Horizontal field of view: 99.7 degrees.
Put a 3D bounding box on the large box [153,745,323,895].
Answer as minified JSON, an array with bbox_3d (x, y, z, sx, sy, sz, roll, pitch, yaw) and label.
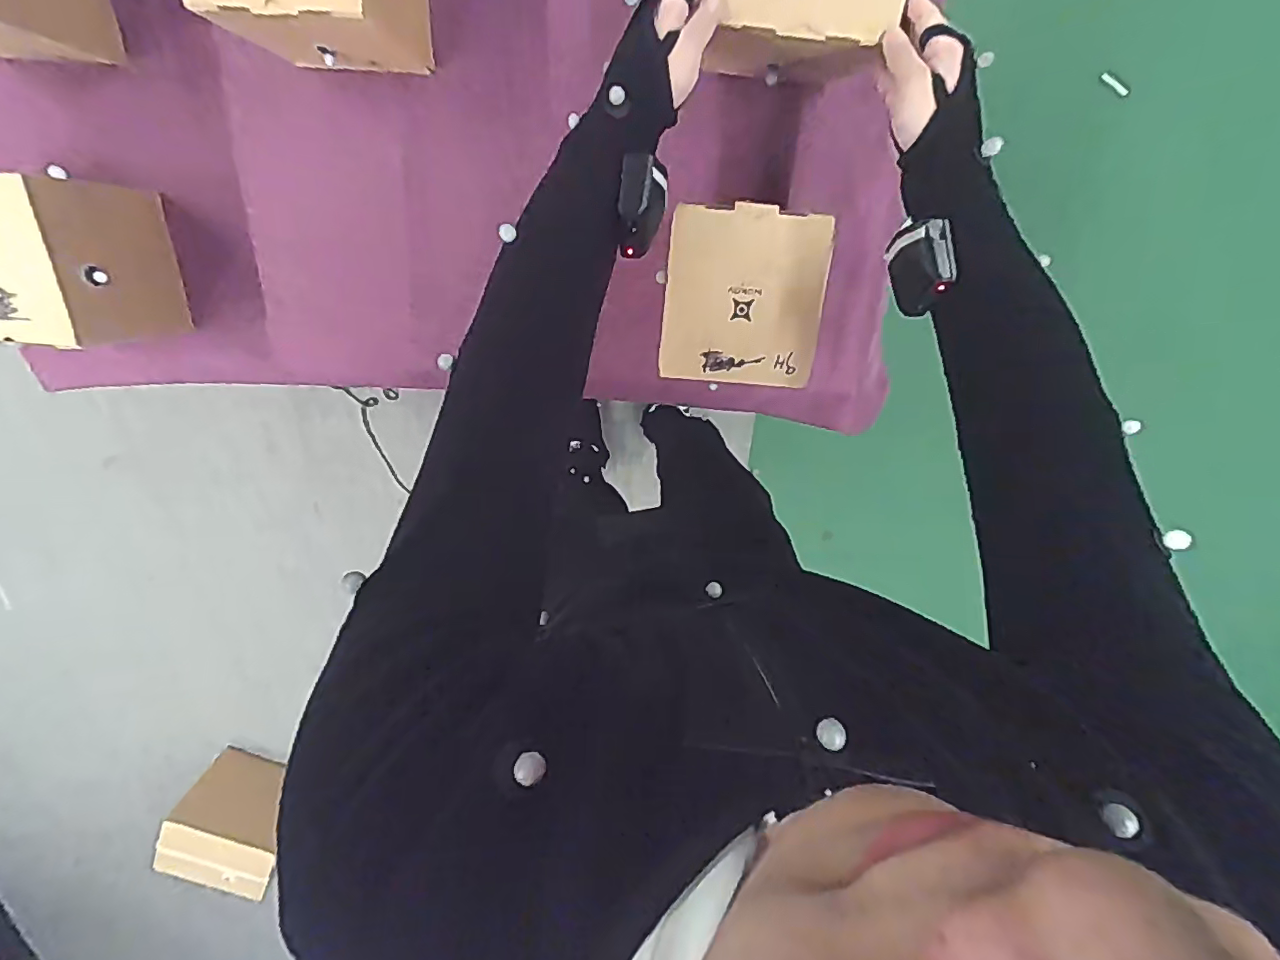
[{"bbox_3d":[-1.534,1.302,2.085,0.408,0.320,0.320,25,113,-10],"label":"large box"}]

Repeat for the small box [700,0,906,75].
[{"bbox_3d":[0.152,-0.504,0.495,0.168,0.176,0.179,6,117,-2],"label":"small box"}]

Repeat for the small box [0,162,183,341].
[{"bbox_3d":[-0.699,-0.271,0.640,0.168,0.176,0.179,3,113,0],"label":"small box"}]

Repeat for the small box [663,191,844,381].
[{"bbox_3d":[0.116,-0.225,0.636,0.168,0.176,0.179,5,112,0],"label":"small box"}]

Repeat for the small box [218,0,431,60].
[{"bbox_3d":[-0.316,-0.537,0.515,0.168,0.176,0.179,3,115,0],"label":"small box"}]
